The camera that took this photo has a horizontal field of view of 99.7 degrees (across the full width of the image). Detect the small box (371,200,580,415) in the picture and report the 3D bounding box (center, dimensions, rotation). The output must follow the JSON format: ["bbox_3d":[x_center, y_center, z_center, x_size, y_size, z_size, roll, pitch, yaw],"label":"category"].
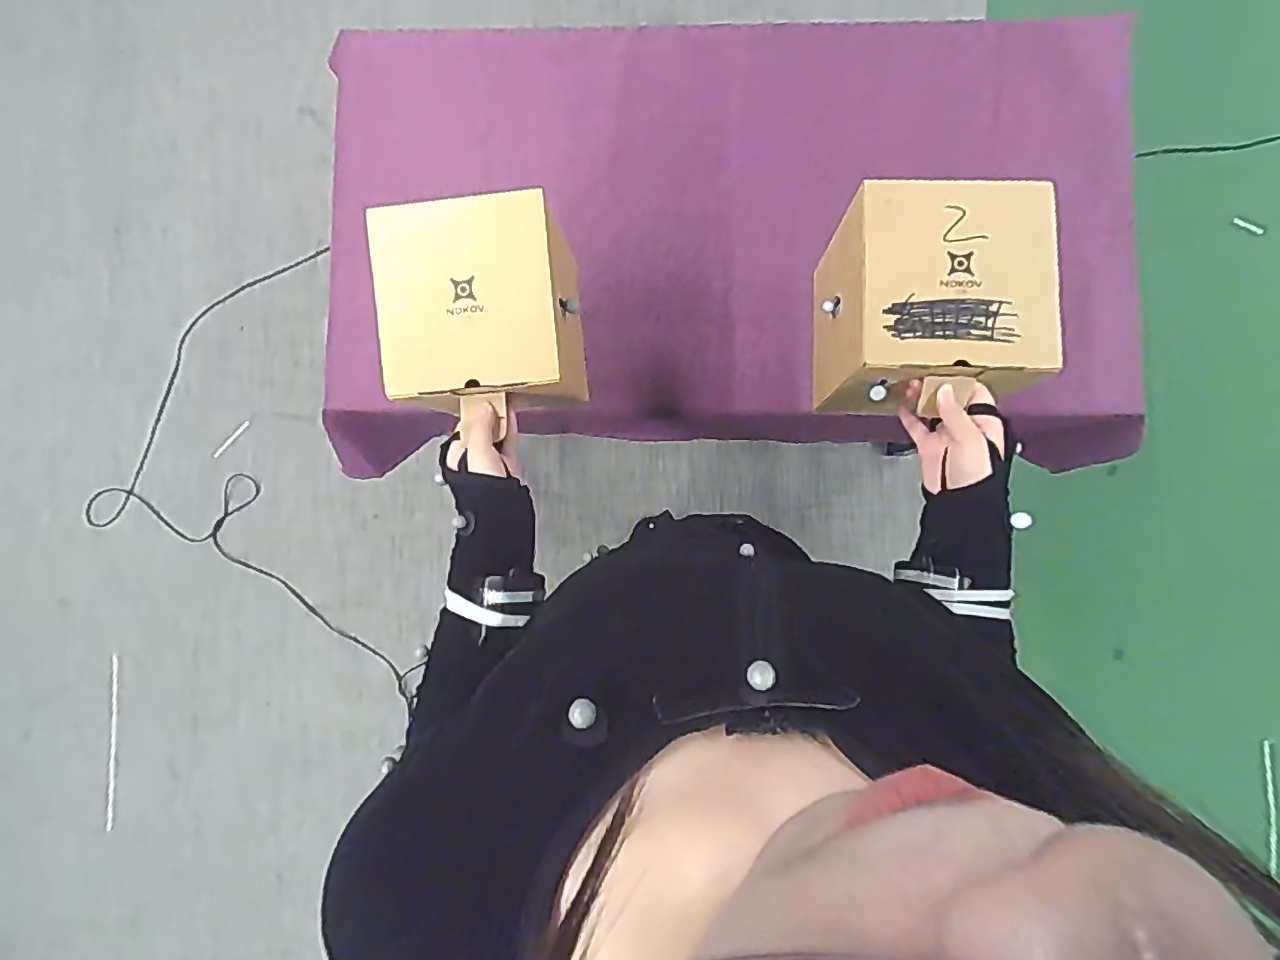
[{"bbox_3d":[-0.163,-0.171,0.587,0.168,0.176,0.179,-5,92,2],"label":"small box"}]
